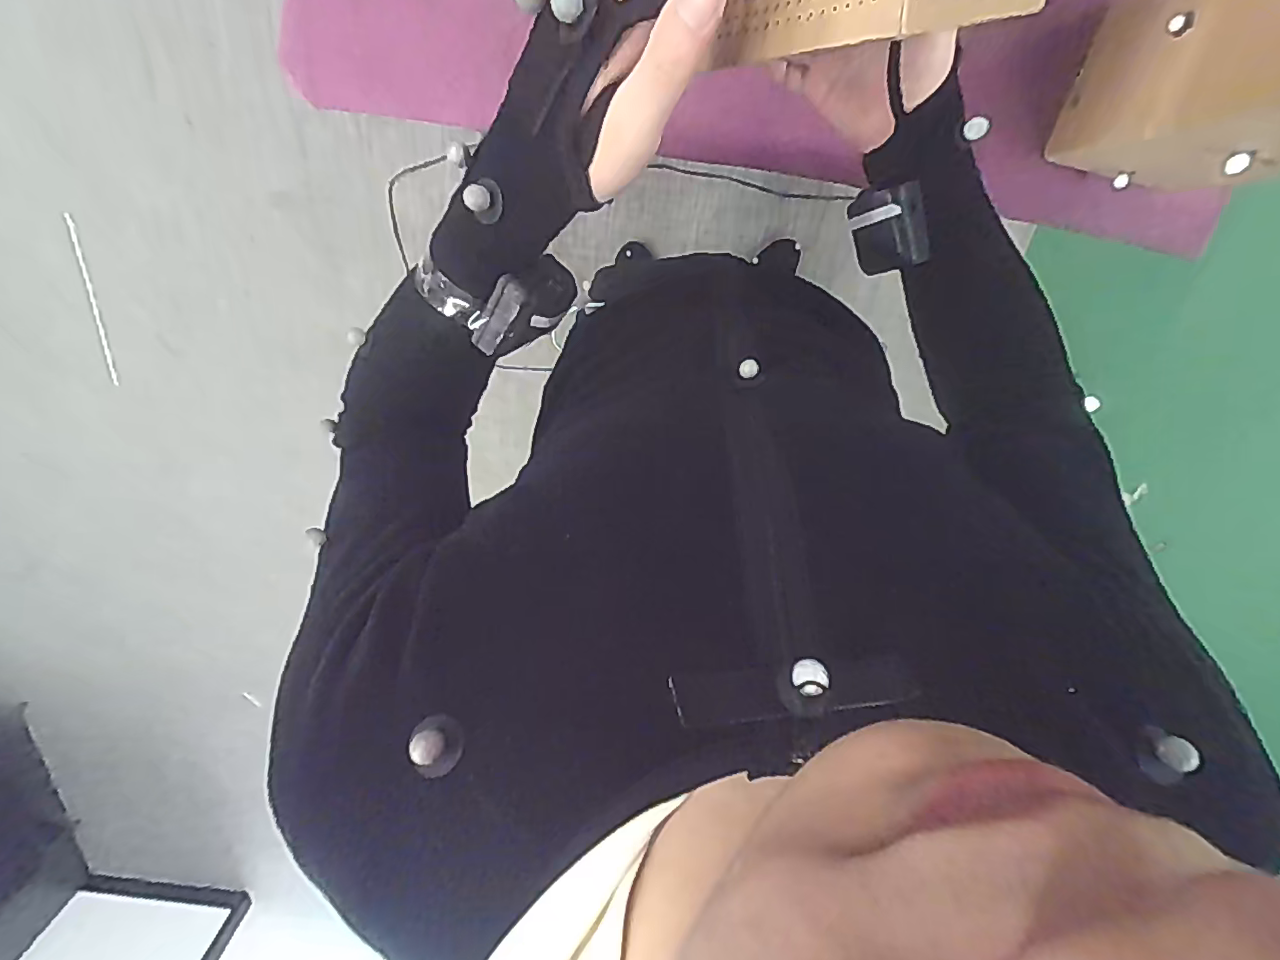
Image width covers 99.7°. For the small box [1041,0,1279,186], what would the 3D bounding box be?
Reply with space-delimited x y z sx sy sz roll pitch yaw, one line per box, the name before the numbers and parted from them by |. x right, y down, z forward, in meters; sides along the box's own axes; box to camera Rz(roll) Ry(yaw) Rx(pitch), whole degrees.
small box | 0.612 -0.437 0.600 0.179 0.176 0.168 13 114 -3

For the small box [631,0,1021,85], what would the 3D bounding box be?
small box | 0.102 -0.331 0.285 0.168 0.179 0.176 -33 131 -29
